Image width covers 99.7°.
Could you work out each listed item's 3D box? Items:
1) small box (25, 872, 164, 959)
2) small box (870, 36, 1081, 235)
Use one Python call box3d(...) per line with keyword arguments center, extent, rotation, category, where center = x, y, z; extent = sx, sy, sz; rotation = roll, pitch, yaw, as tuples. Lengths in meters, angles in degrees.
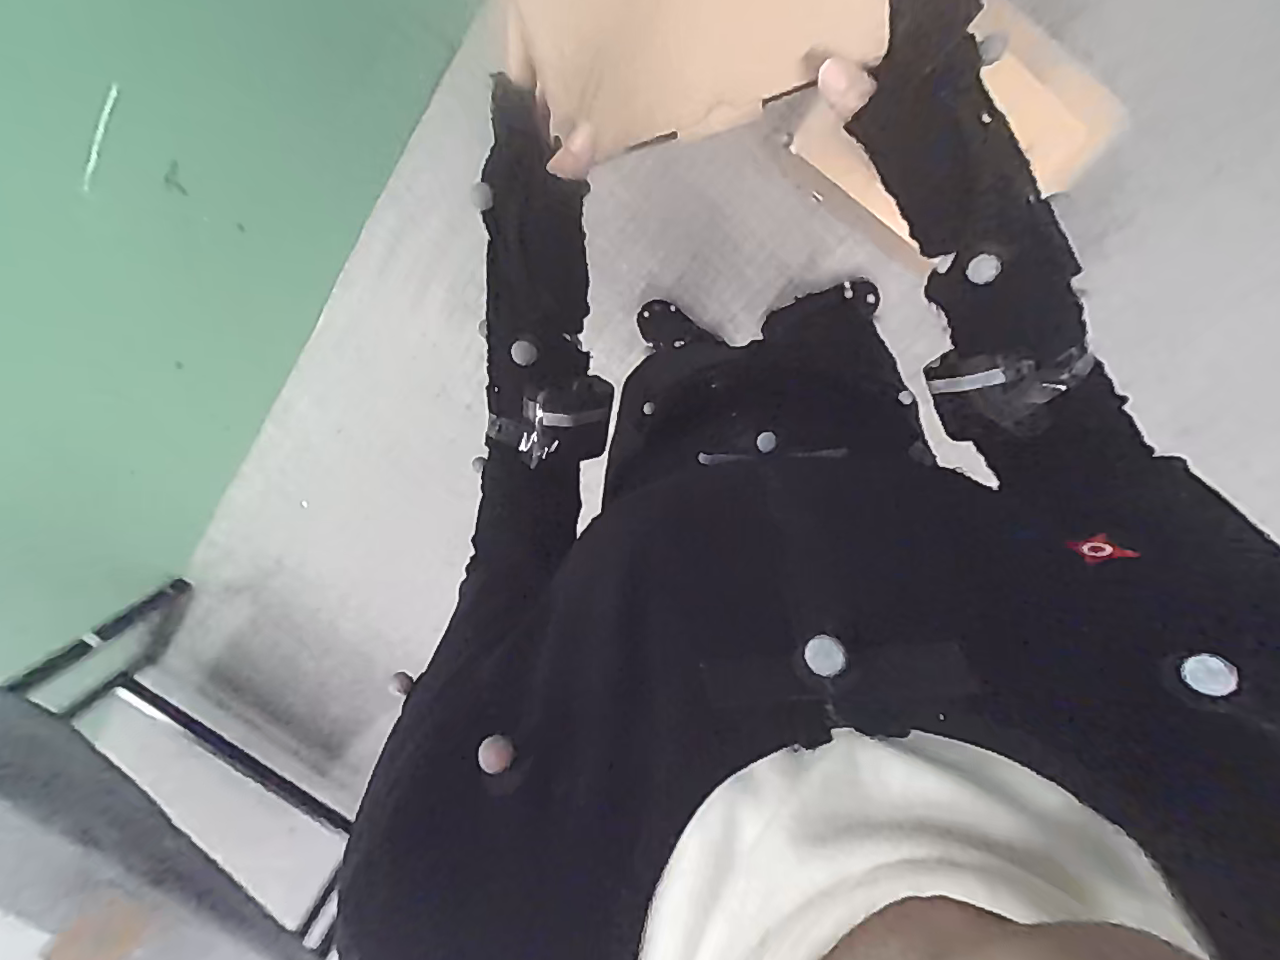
box3d(center=(-1.405, 1.157, 1.399), extent=(0.179, 0.176, 0.168), rotation=(39, 115, -10), category="small box")
box3d(center=(0.471, -0.486, 0.793), extent=(0.179, 0.176, 0.168), rotation=(37, 117, -10), category="small box")
